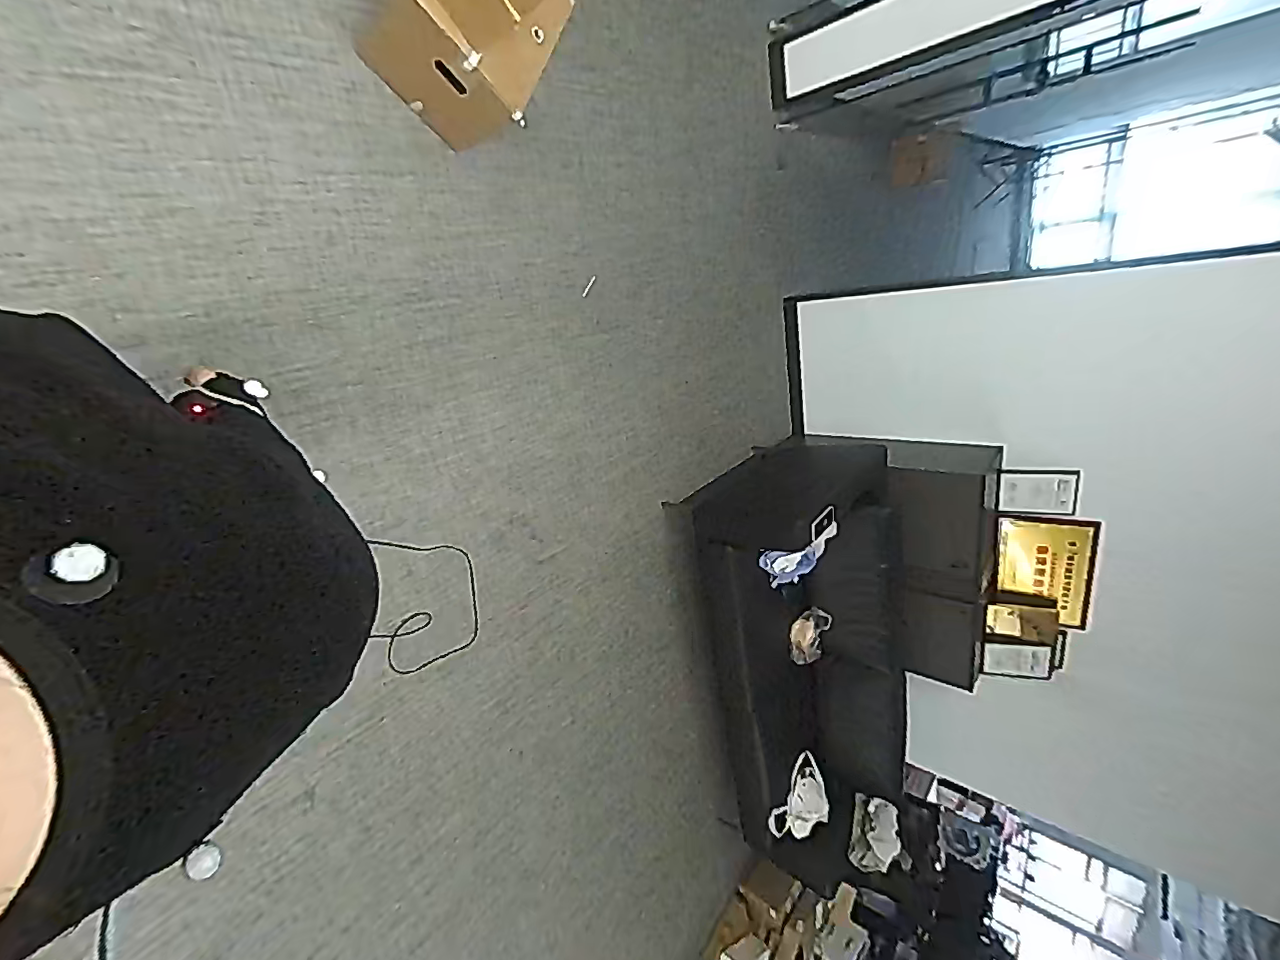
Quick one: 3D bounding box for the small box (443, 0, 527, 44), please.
[{"bbox_3d":[-0.325,-1.093,1.167,0.179,0.176,0.168,42,67,-40],"label":"small box"}]
